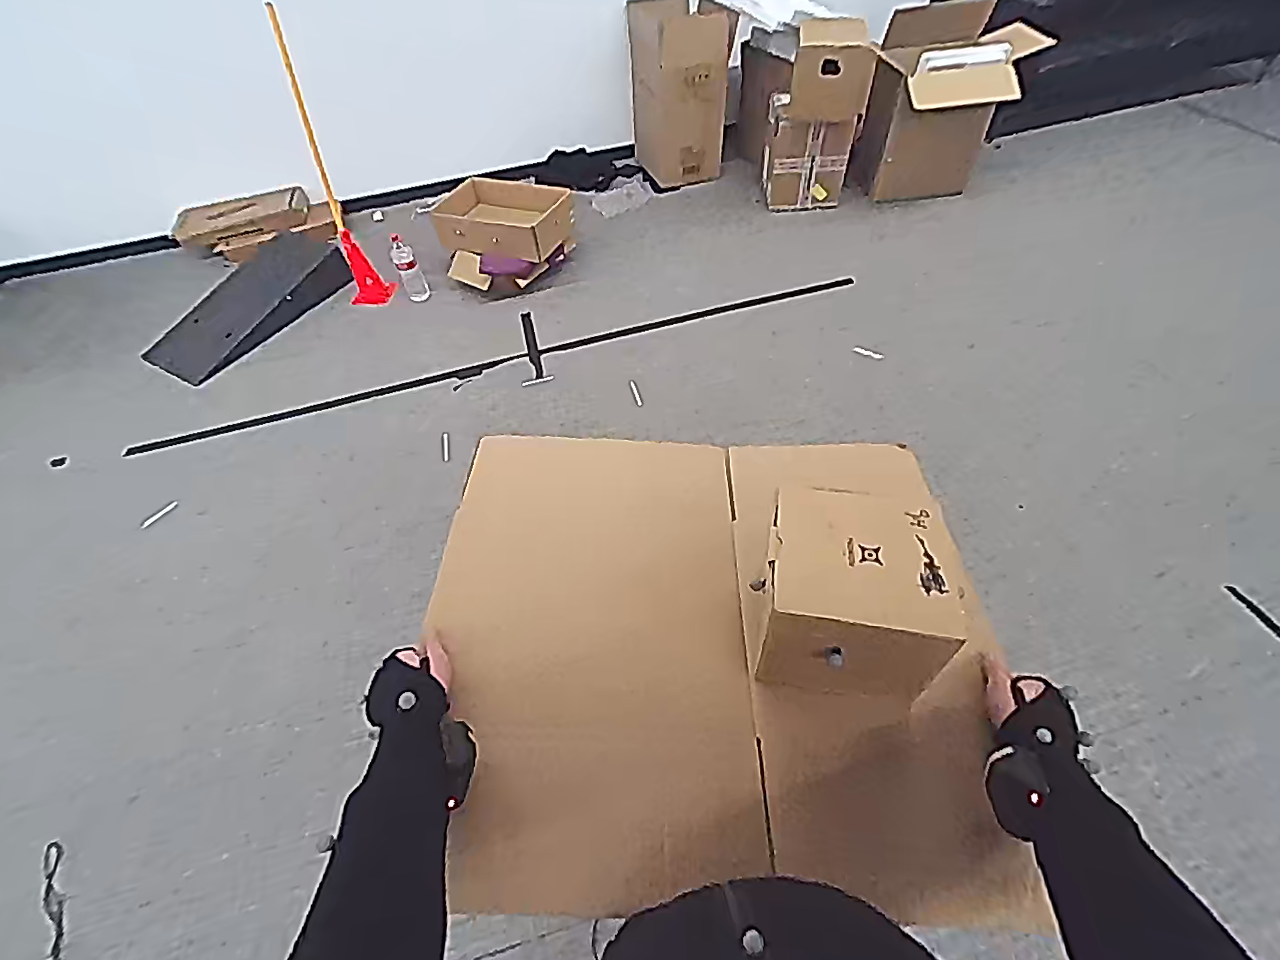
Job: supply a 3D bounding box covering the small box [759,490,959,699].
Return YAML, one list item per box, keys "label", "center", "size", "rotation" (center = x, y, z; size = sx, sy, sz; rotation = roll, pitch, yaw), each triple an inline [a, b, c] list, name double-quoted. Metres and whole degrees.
- label: "small box"
  center: [0.234, 0.134, 0.623]
  size: [0.179, 0.176, 0.168]
  rotation: [6, 49, 11]
